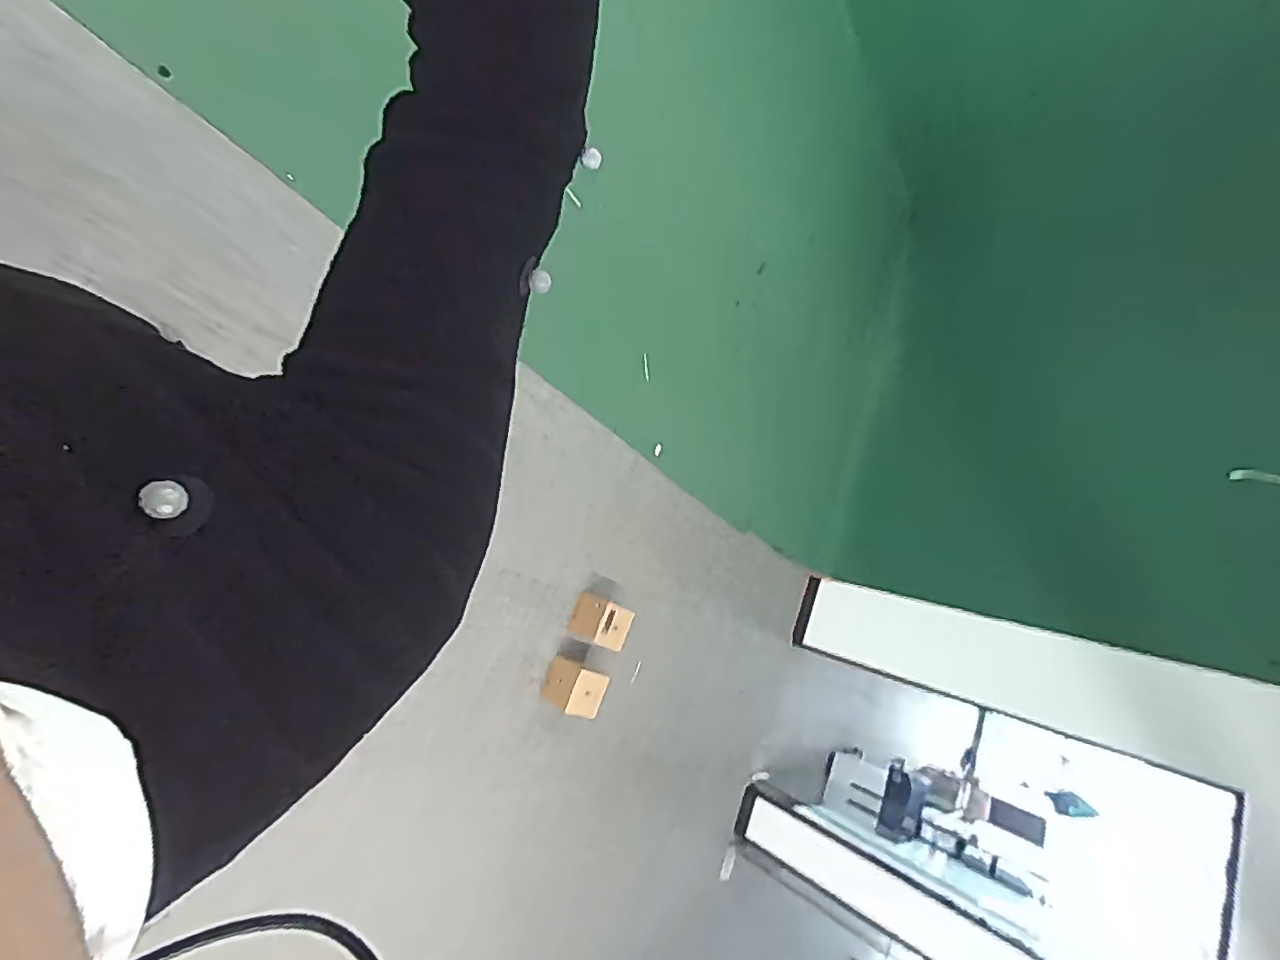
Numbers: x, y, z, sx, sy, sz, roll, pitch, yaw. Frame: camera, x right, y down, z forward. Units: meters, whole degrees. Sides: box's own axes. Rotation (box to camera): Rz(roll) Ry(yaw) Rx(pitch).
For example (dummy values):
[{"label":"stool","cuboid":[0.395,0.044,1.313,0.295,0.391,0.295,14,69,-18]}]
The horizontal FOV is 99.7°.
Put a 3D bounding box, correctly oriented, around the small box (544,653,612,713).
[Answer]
[{"label":"small box","cuboid":[-0.249,0.803,2.149,0.179,0.176,0.168,35,72,-43]}]
